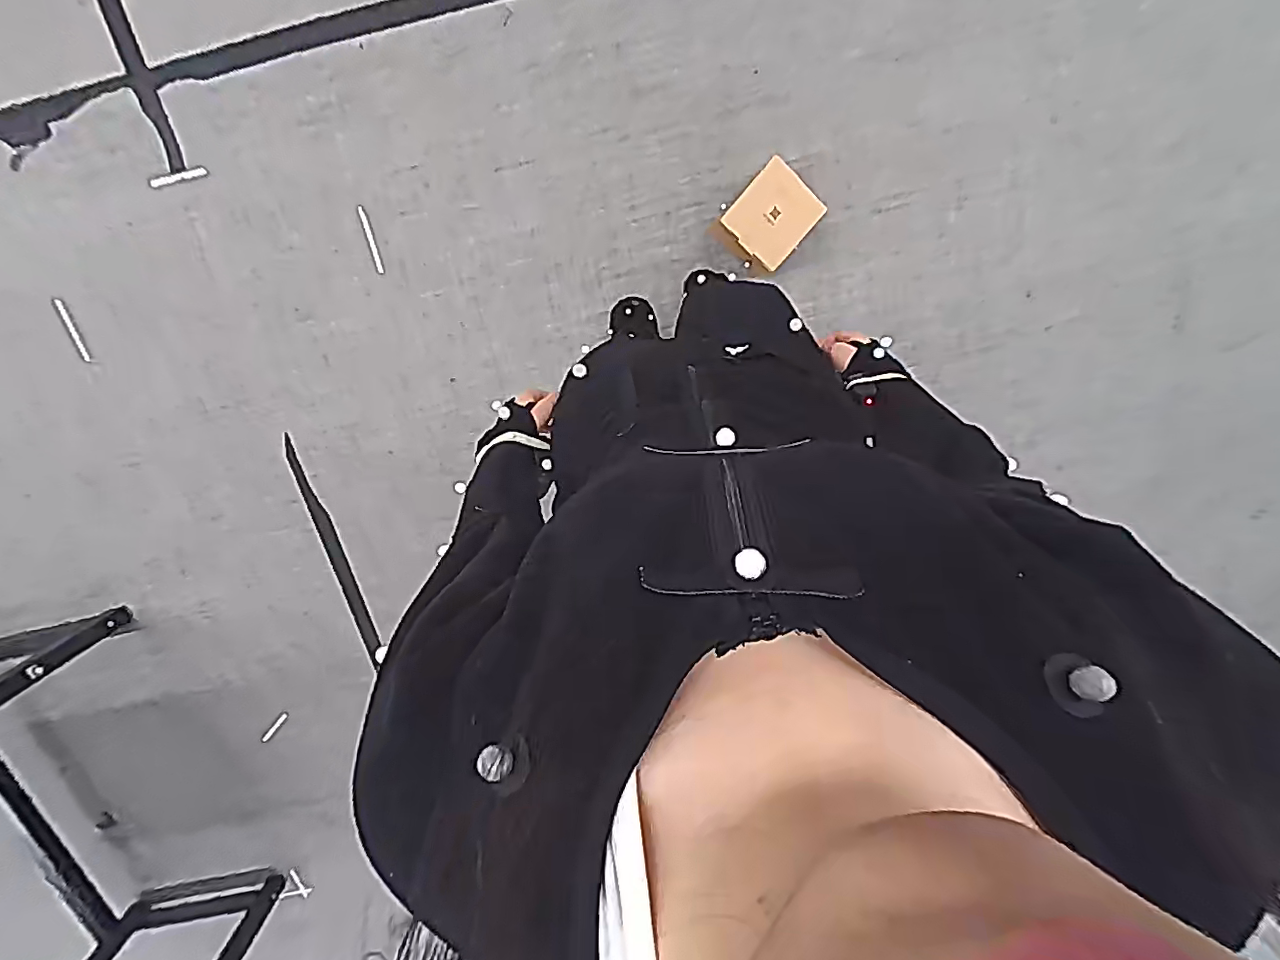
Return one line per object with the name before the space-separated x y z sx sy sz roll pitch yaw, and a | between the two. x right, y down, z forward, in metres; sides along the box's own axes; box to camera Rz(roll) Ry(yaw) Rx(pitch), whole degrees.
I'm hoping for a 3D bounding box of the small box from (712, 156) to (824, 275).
small box | 0.284 -0.597 1.249 0.168 0.176 0.179 39 102 -14
